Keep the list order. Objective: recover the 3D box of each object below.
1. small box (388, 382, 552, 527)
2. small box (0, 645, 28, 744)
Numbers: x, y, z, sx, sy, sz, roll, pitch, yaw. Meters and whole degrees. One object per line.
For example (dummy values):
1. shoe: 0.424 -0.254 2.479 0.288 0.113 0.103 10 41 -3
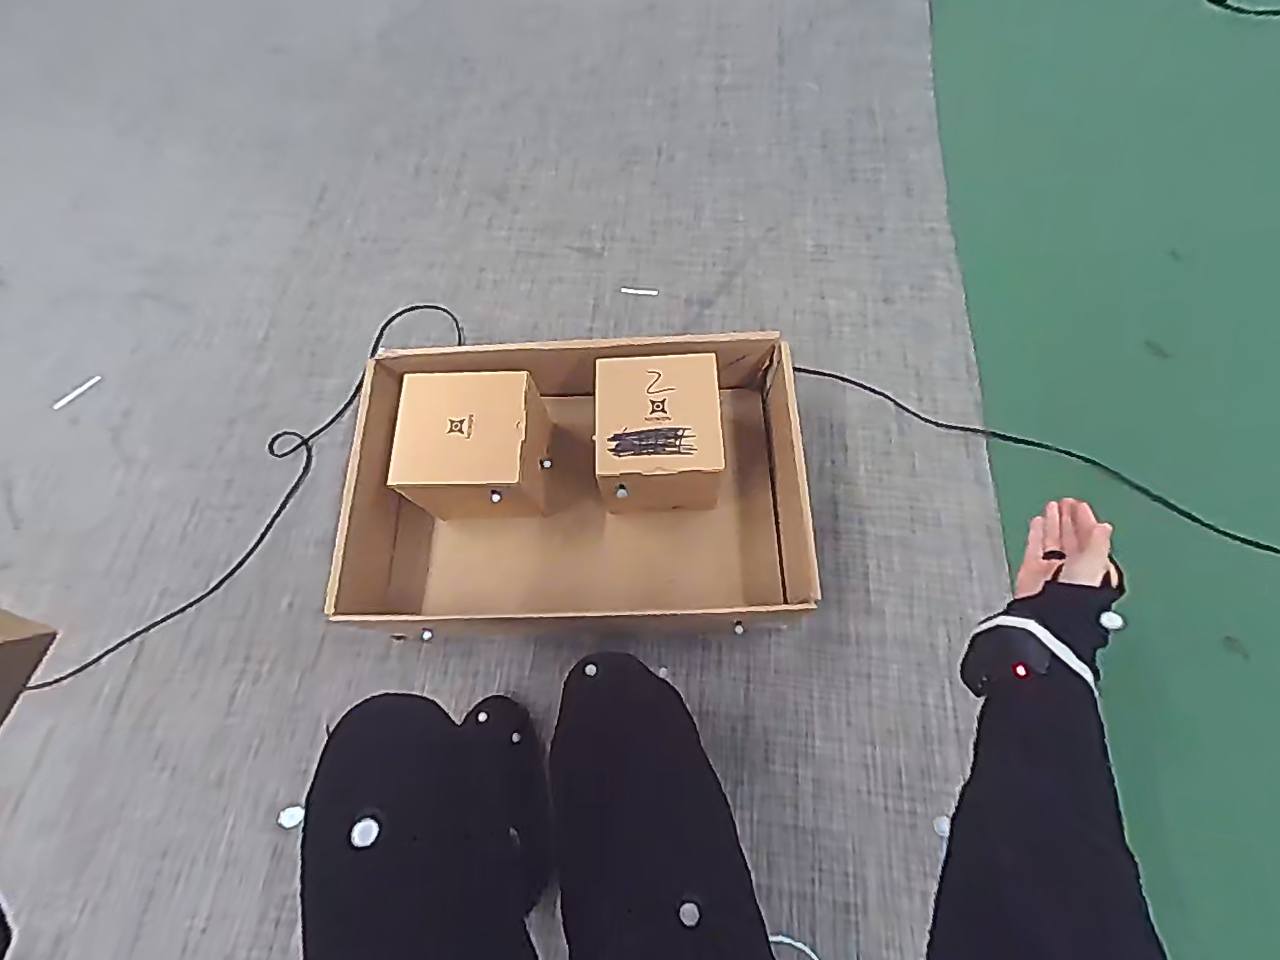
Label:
1. small box: -0.237 -0.030 0.797 0.179 0.176 0.168 -1 70 2
2. small box: -0.426 0.131 0.209 0.168 0.176 0.179 25 79 -7
